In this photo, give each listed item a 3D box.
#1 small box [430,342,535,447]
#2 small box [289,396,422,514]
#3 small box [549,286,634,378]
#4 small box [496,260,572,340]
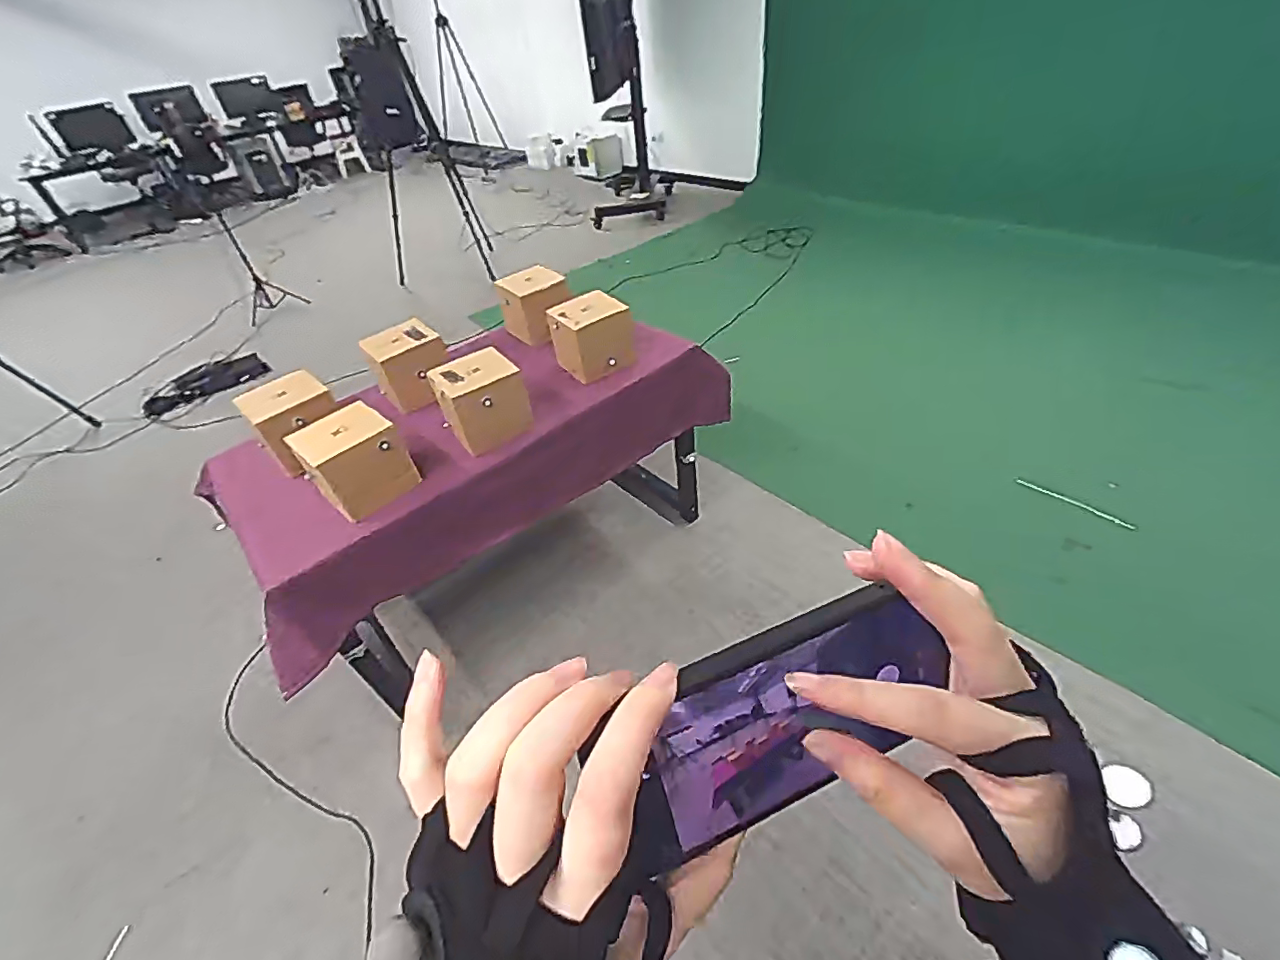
[{"bbox_3d":[-0.379,-0.208,1.323,0.179,0.176,0.168,-29,47,-22],"label":"small box"},{"bbox_3d":[-0.621,-0.054,1.196,0.168,0.176,0.179,28,52,33],"label":"small box"},{"bbox_3d":[-0.128,-0.412,1.504,0.179,0.176,0.168,-29,46,-21],"label":"small box"},{"bbox_3d":[-0.323,-0.564,1.696,0.168,0.176,0.179,-32,48,-23],"label":"small box"}]
